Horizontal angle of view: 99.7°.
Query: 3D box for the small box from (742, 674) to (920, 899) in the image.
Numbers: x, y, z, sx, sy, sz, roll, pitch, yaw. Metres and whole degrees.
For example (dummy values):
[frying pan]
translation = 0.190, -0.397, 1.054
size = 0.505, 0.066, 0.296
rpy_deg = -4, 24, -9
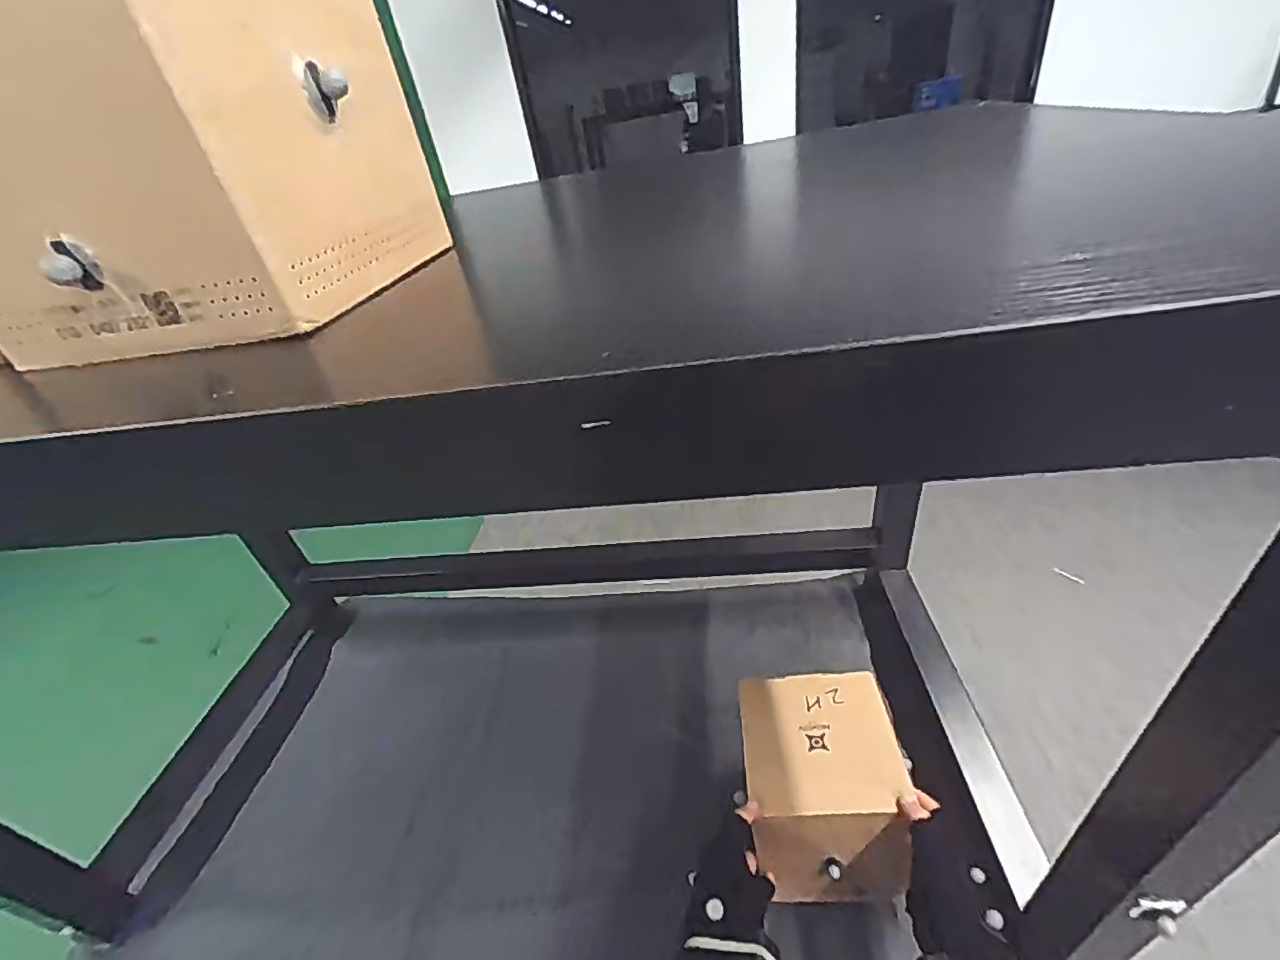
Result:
[small box]
translation = 0.219, 0.362, 0.642
size = 0.168, 0.176, 0.179
rpy_deg = -8, 27, 10
